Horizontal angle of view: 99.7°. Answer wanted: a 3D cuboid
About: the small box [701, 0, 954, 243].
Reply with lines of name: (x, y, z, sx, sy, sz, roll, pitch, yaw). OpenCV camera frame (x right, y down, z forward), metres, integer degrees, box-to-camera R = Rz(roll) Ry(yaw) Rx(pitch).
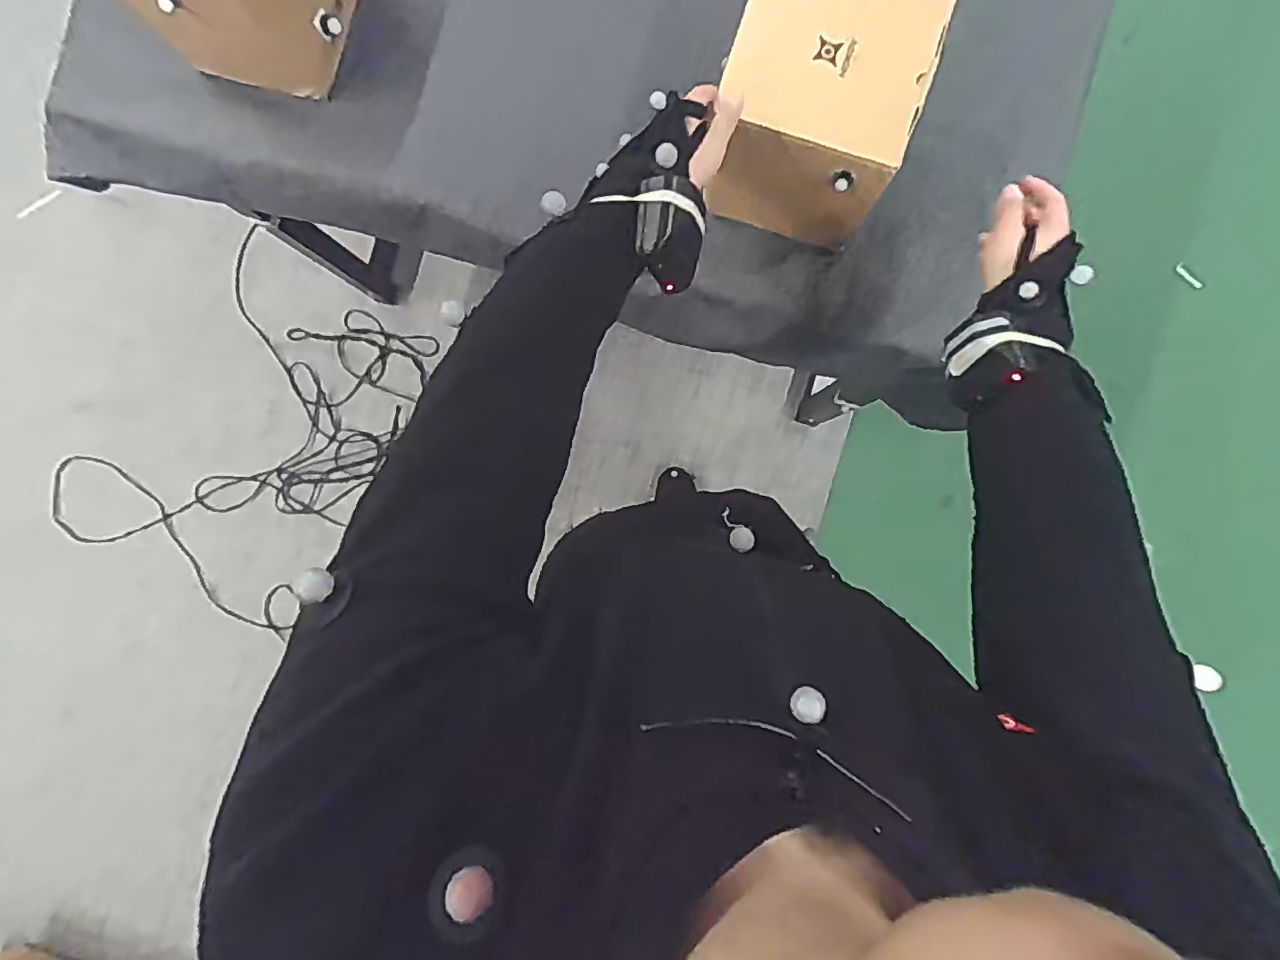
small box: (0.170, -0.373, 0.554, 0.179, 0.176, 0.168, 19, 90, 2)

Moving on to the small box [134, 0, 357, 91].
small box: (-0.443, -0.564, 0.578, 0.179, 0.176, 0.168, 15, 91, 1)
